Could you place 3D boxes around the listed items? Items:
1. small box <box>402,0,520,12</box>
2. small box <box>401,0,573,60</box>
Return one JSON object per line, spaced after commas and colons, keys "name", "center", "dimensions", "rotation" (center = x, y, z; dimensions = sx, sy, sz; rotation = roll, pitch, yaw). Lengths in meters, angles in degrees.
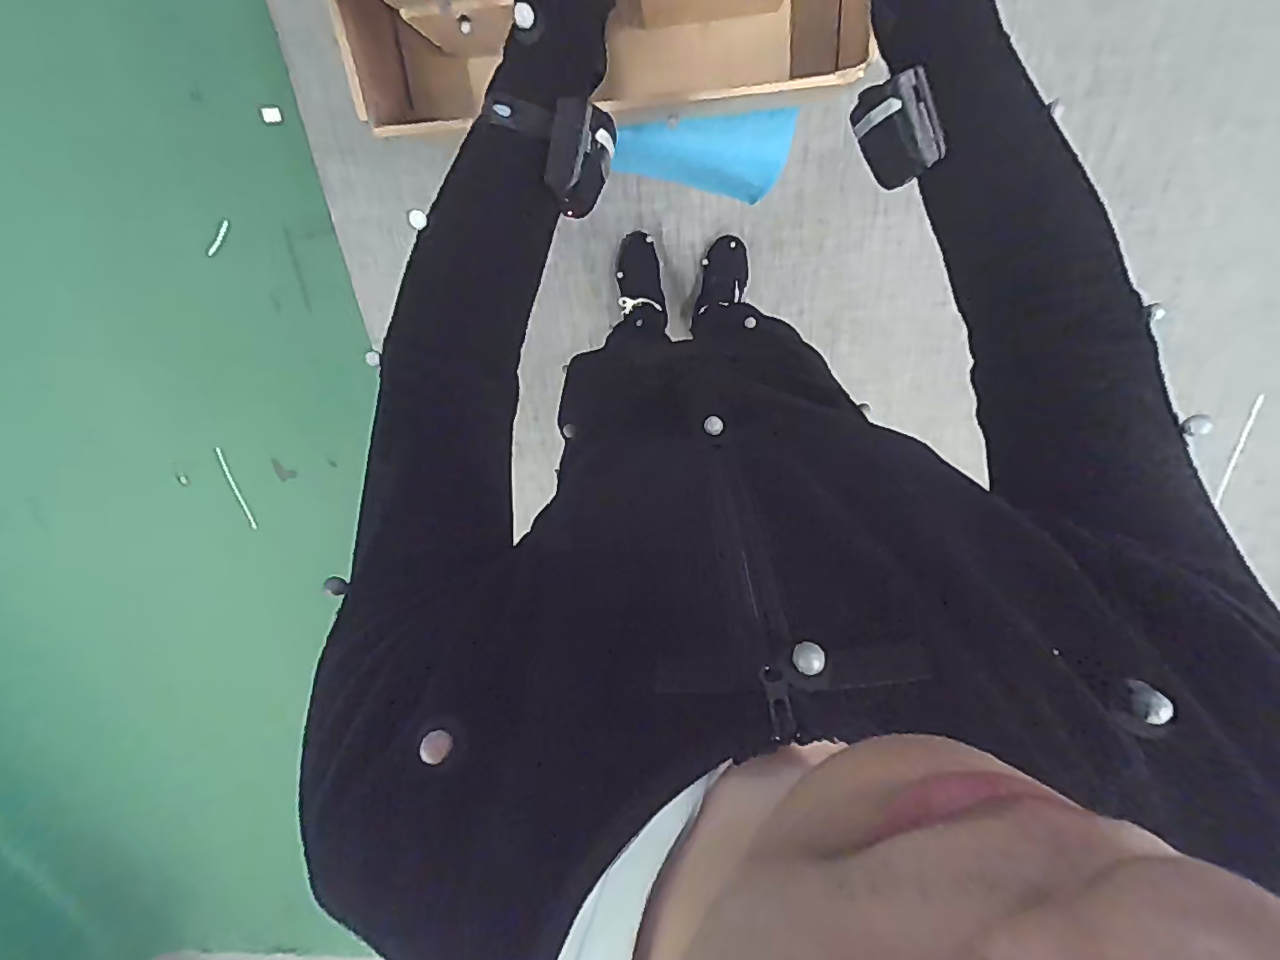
{"name": "small box", "center": [-0.190, -0.558, 0.474], "dimensions": [0.168, 0.176, 0.179], "rotation": [-3, 115, 5]}
{"name": "small box", "center": [-0.179, -0.622, 0.623], "dimensions": [0.168, 0.176, 0.179], "rotation": [-3, 114, 5]}
